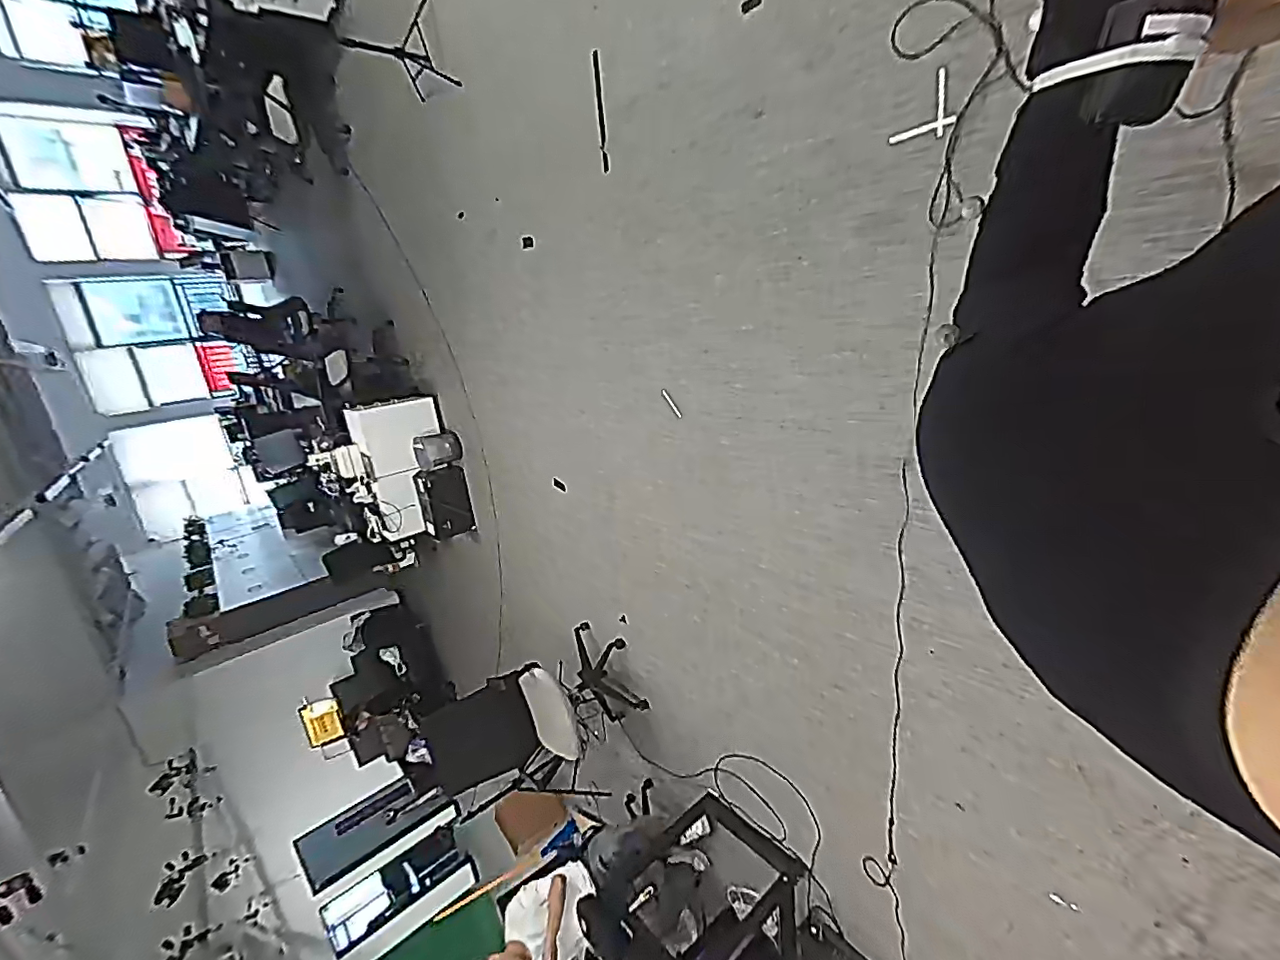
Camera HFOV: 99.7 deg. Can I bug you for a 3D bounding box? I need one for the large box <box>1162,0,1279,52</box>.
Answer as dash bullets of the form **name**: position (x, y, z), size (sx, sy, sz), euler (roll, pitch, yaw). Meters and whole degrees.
- **large box**: position (0.563, -0.479, 0.259), size (0.408, 0.320, 0.320), euler (13, 124, 47)
